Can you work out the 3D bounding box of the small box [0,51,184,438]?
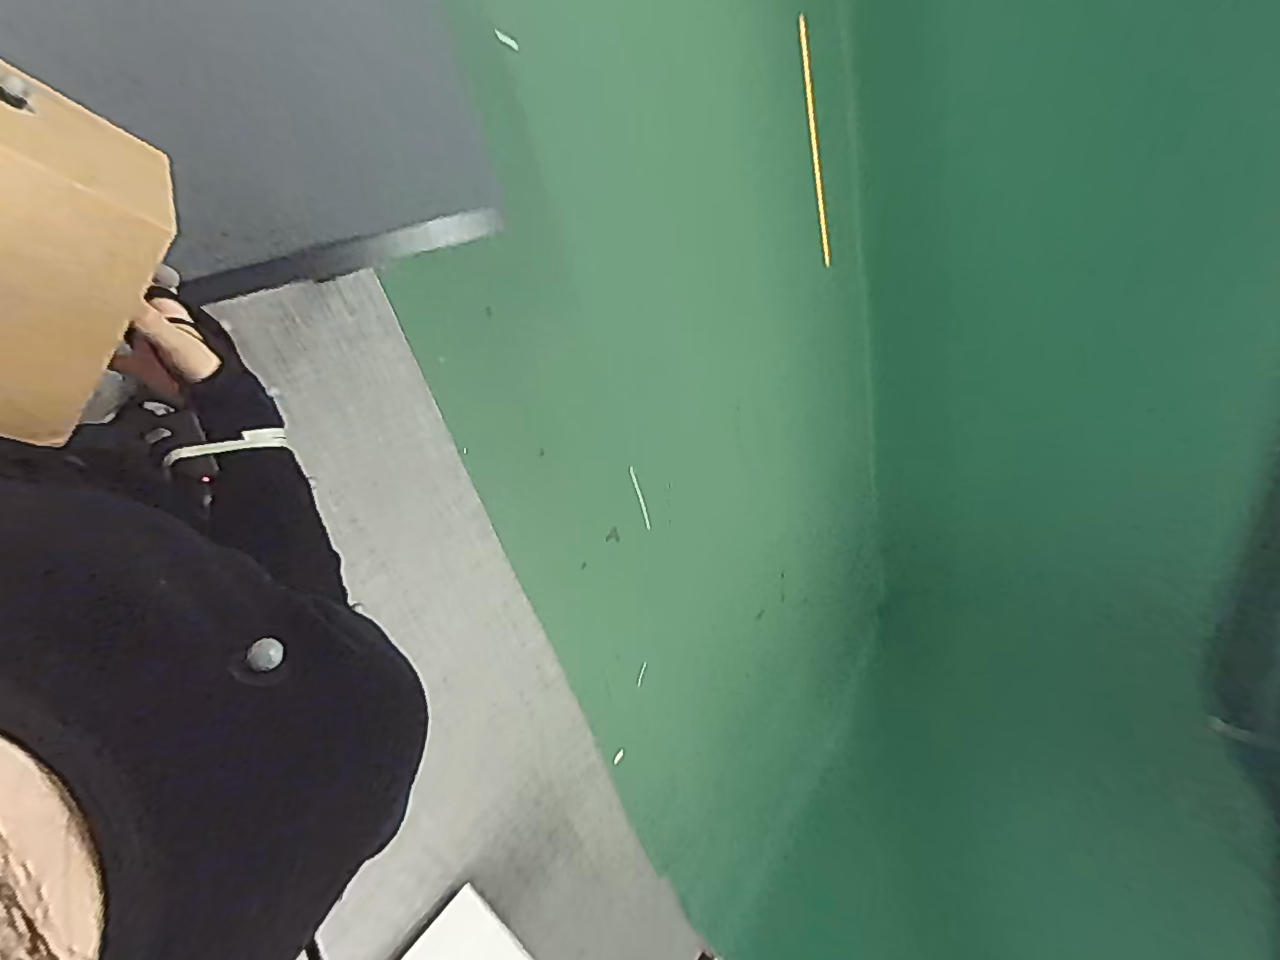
[{"bbox_3d":[-0.408,-0.160,0.312,0.179,0.176,0.168,-49,144,11],"label":"small box"}]
